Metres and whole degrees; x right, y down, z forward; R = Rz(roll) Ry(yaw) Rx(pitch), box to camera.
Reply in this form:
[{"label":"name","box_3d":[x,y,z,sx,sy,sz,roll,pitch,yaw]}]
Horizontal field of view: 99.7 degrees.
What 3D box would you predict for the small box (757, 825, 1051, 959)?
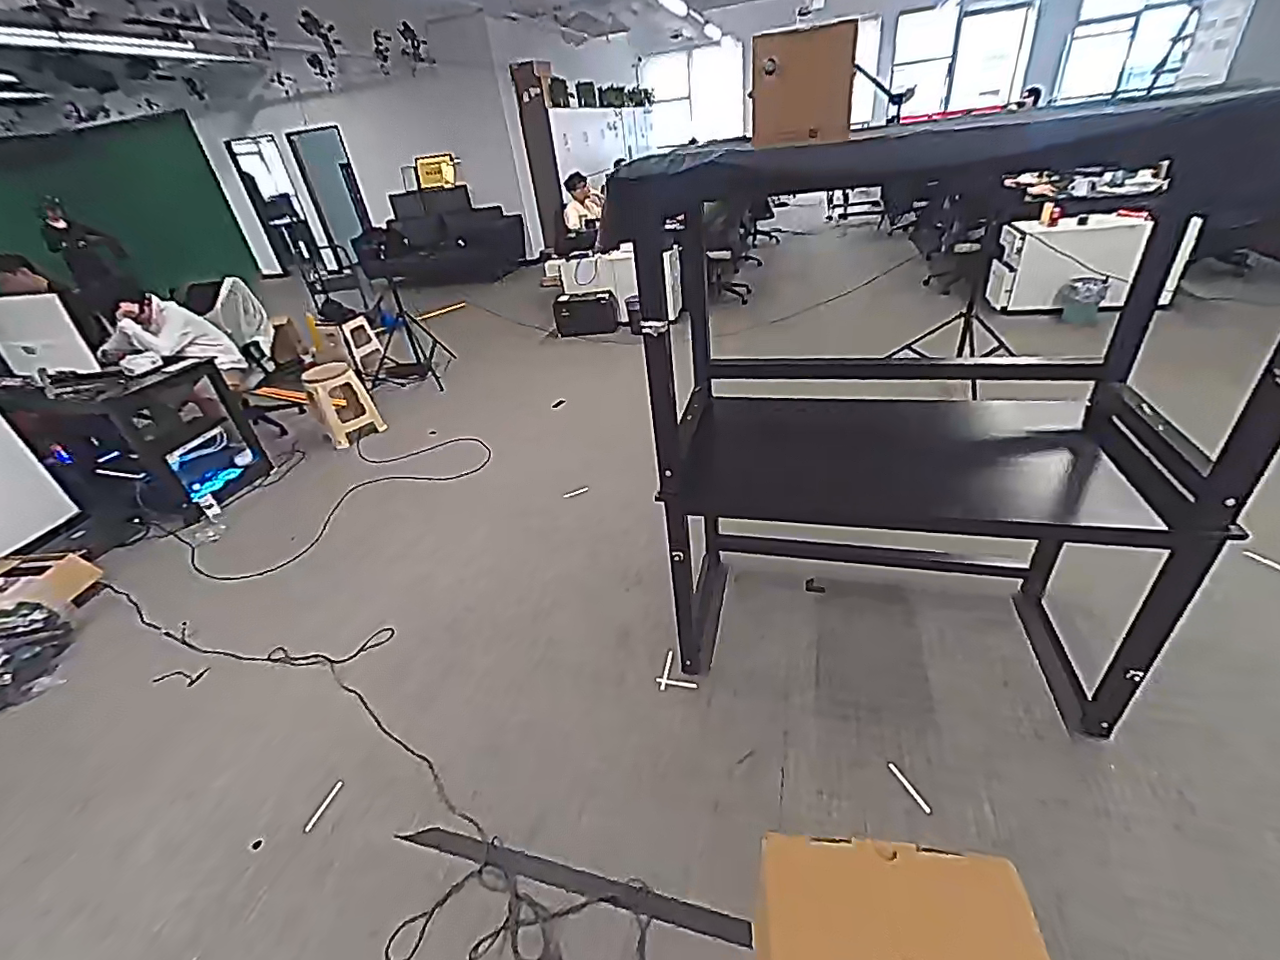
[{"label":"small box","box_3d":[0.166,0.367,0.355,0.168,0.176,0.179,1,33,8]}]
